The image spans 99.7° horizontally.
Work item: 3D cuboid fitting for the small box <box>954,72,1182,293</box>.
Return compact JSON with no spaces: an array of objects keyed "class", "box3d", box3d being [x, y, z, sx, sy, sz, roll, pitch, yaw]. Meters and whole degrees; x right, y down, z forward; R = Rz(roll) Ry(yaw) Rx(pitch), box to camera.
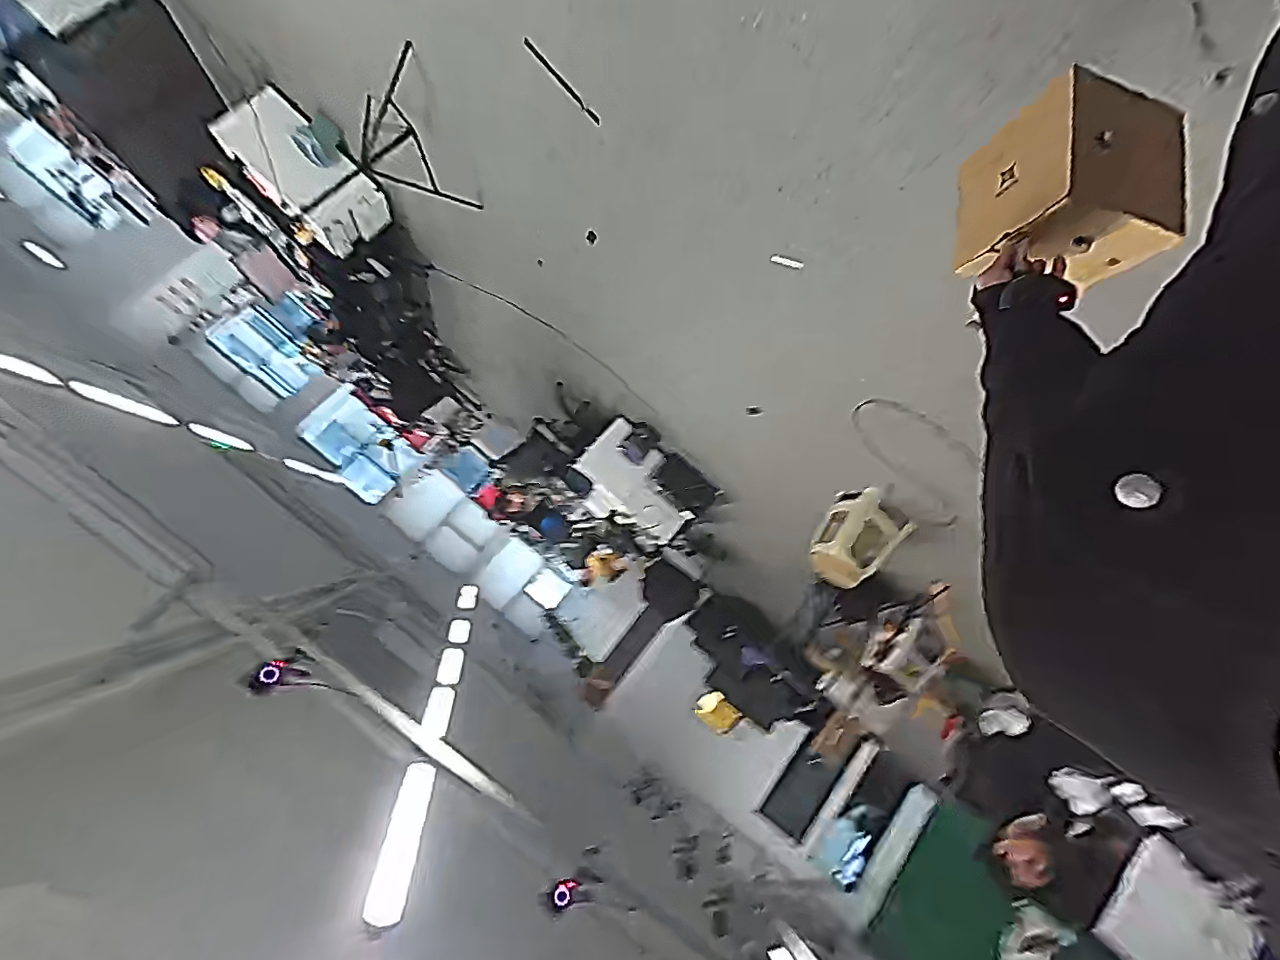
[{"class":"small box","box3d":[0.546,-0.363,0.700,0.176,0.179,0.168,13,170,-11]}]
